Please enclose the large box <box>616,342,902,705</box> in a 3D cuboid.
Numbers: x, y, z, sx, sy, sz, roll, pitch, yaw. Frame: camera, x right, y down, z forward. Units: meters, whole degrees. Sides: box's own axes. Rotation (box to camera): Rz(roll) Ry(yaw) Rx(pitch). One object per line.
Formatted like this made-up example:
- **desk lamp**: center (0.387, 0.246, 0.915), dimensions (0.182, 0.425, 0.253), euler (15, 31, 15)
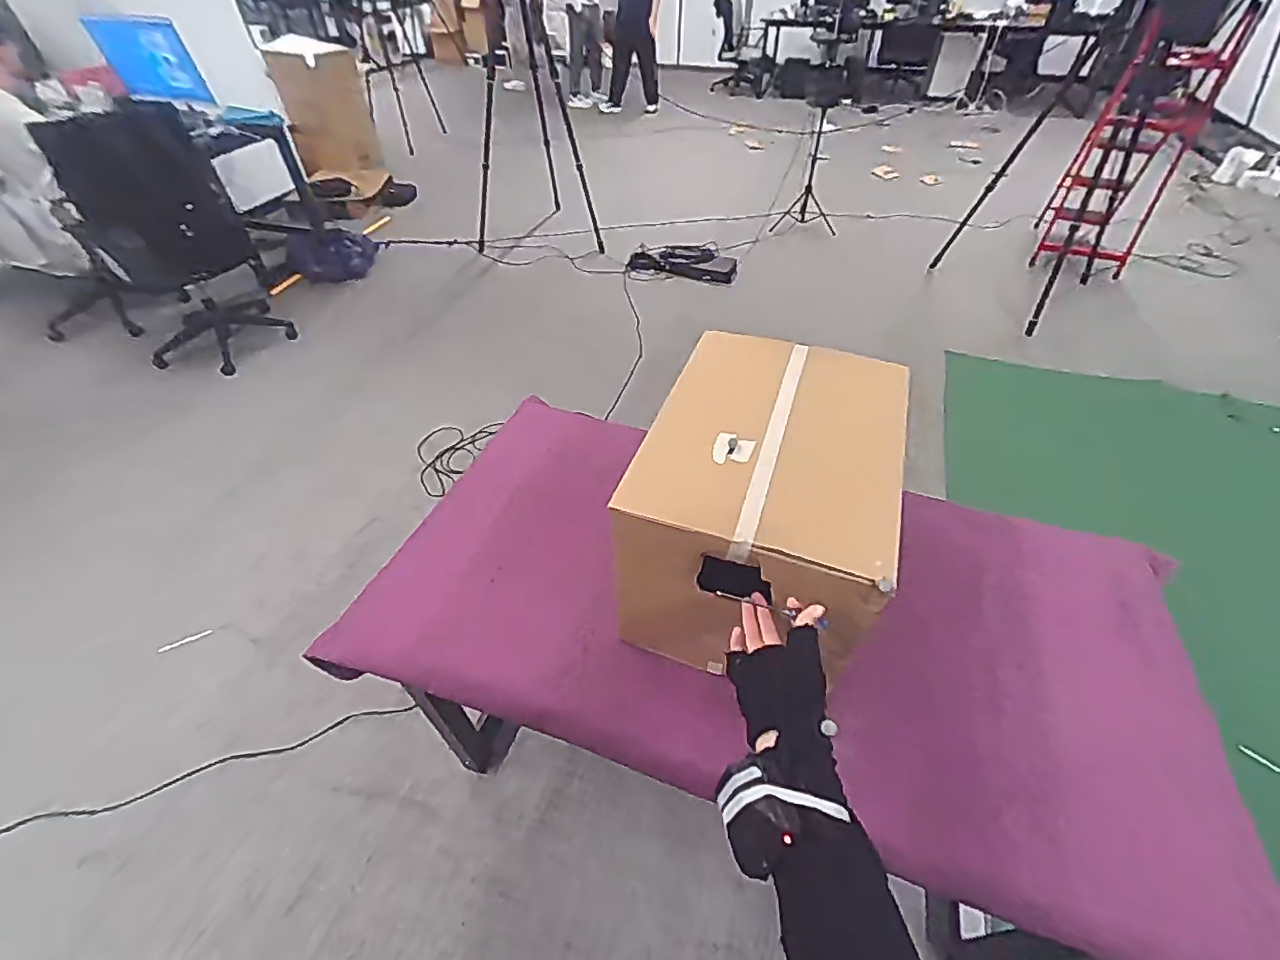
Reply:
- **large box**: center (0.179, 0.050, 0.825), dimensions (0.320, 0.320, 0.408), euler (15, 49, 15)
